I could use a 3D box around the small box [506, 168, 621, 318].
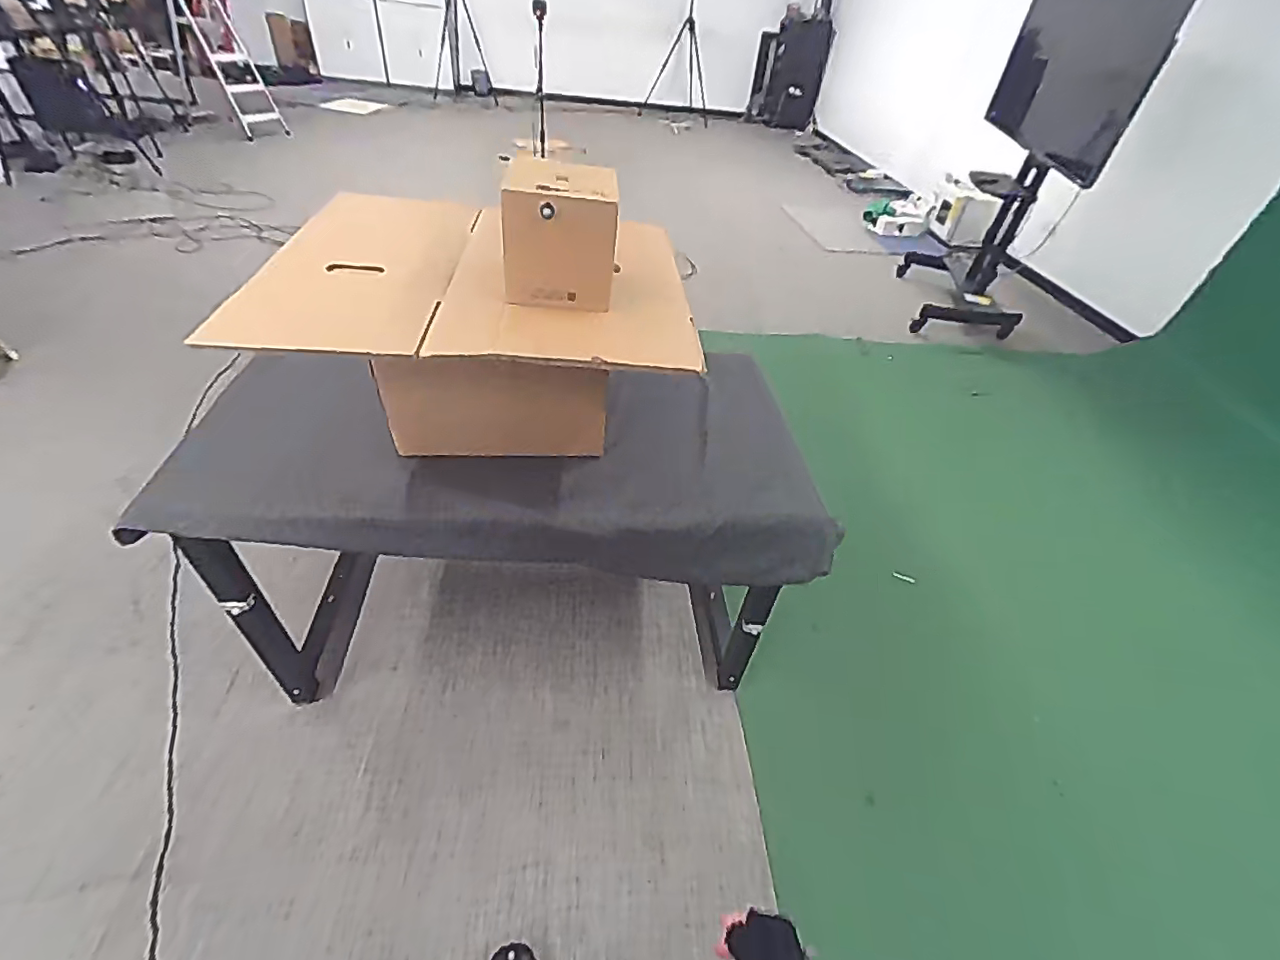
[{"bbox_3d":[-0.122,-0.383,0.876,0.168,0.176,0.179,3,42,-7],"label":"small box"}]
